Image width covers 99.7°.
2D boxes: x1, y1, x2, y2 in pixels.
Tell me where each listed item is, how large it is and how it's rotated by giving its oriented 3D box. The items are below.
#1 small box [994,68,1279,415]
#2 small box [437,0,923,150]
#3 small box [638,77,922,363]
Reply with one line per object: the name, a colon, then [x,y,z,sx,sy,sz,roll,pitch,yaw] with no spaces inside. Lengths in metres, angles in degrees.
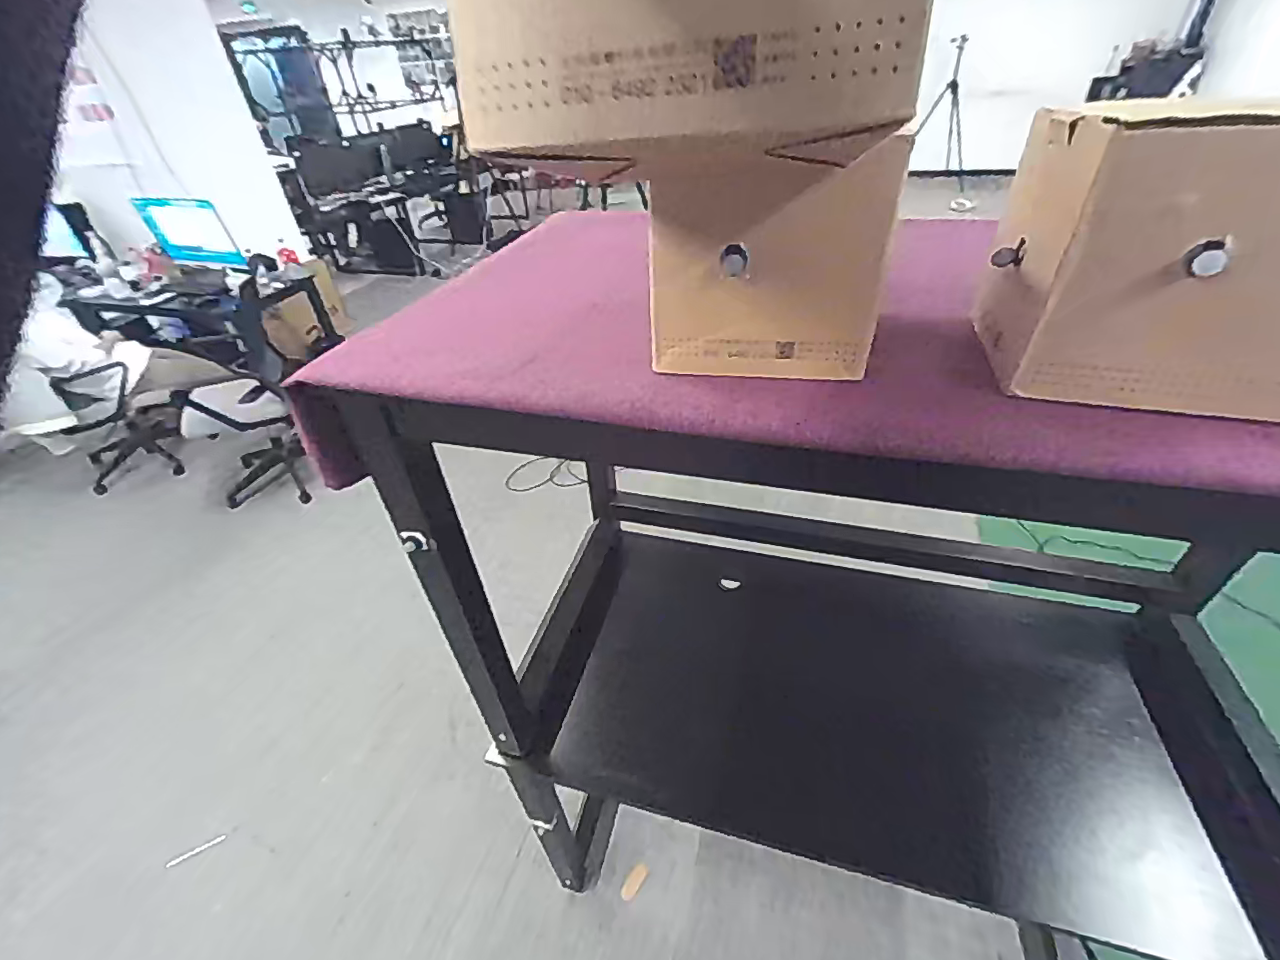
small box: [0.357,-0.158,0.352,0.179,0.176,0.168,10,40,16]
small box: [0.023,-0.240,0.212,0.168,0.176,0.179,6,26,13]
small box: [0.100,-0.204,0.426,0.168,0.176,0.179,6,39,11]
